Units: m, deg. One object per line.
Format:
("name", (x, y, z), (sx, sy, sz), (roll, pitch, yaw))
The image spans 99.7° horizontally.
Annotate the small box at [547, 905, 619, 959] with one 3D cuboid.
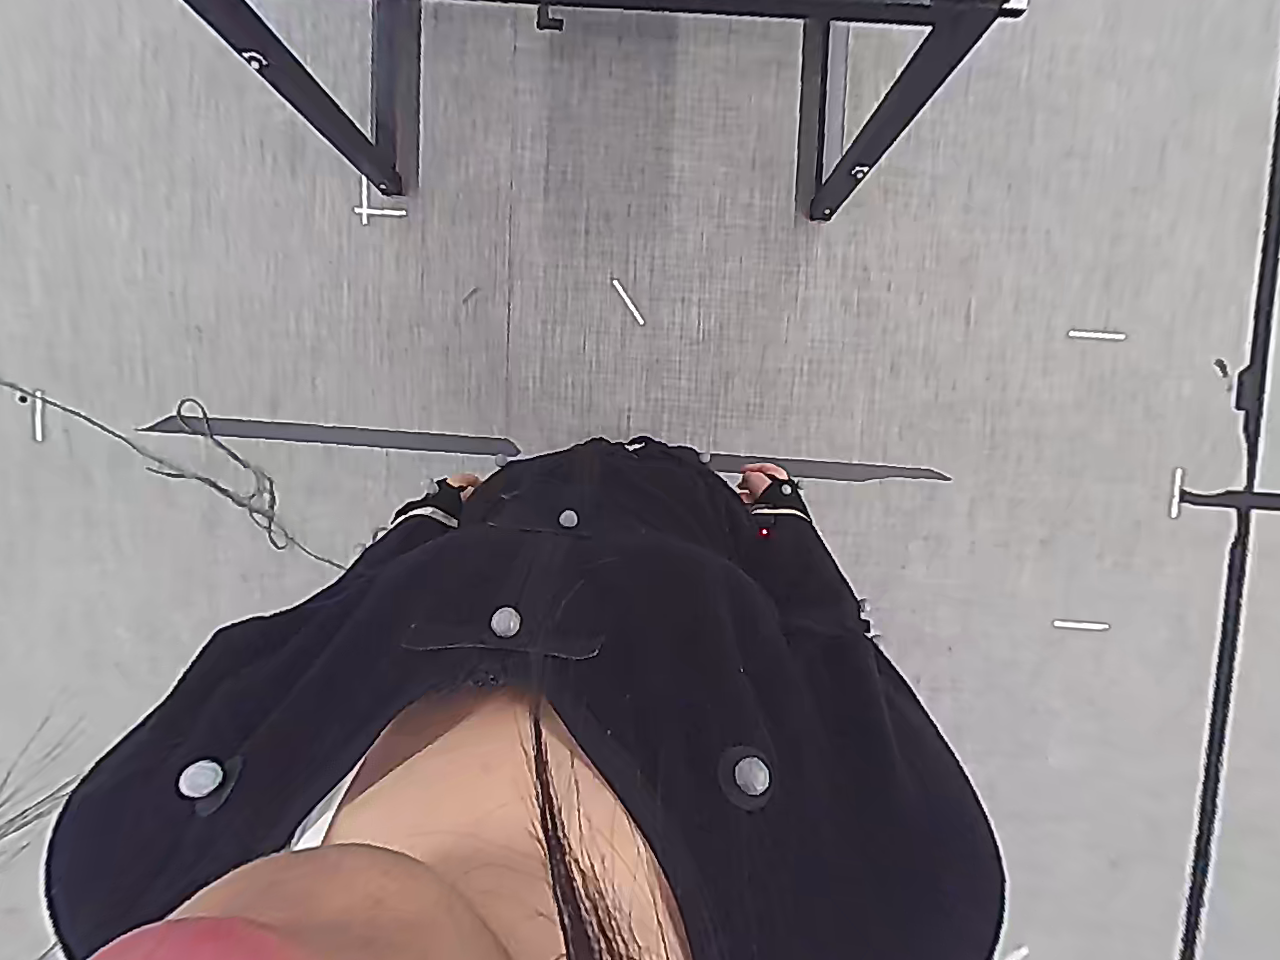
("small box", (-0.152, 1.304, 1.472), (0.168, 0.176, 0.179), (-10, 93, 0))
